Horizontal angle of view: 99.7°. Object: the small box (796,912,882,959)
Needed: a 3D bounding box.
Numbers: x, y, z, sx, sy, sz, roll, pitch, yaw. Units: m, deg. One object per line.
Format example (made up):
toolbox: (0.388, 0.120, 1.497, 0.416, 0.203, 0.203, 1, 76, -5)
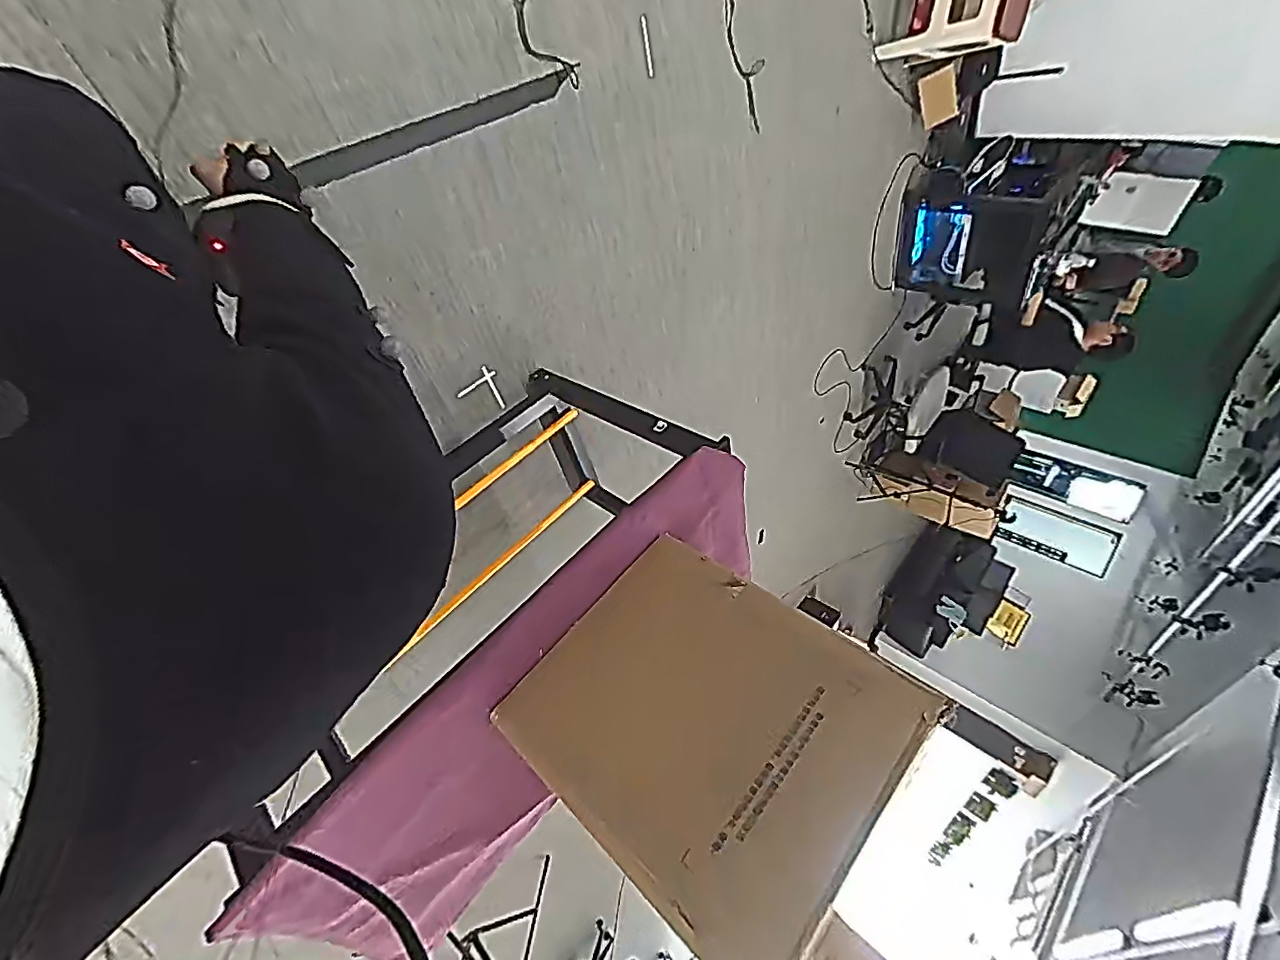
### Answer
small box: (0.330, 0.847, 0.871, 0.168, 0.176, 0.179, -43, 140, -26)
